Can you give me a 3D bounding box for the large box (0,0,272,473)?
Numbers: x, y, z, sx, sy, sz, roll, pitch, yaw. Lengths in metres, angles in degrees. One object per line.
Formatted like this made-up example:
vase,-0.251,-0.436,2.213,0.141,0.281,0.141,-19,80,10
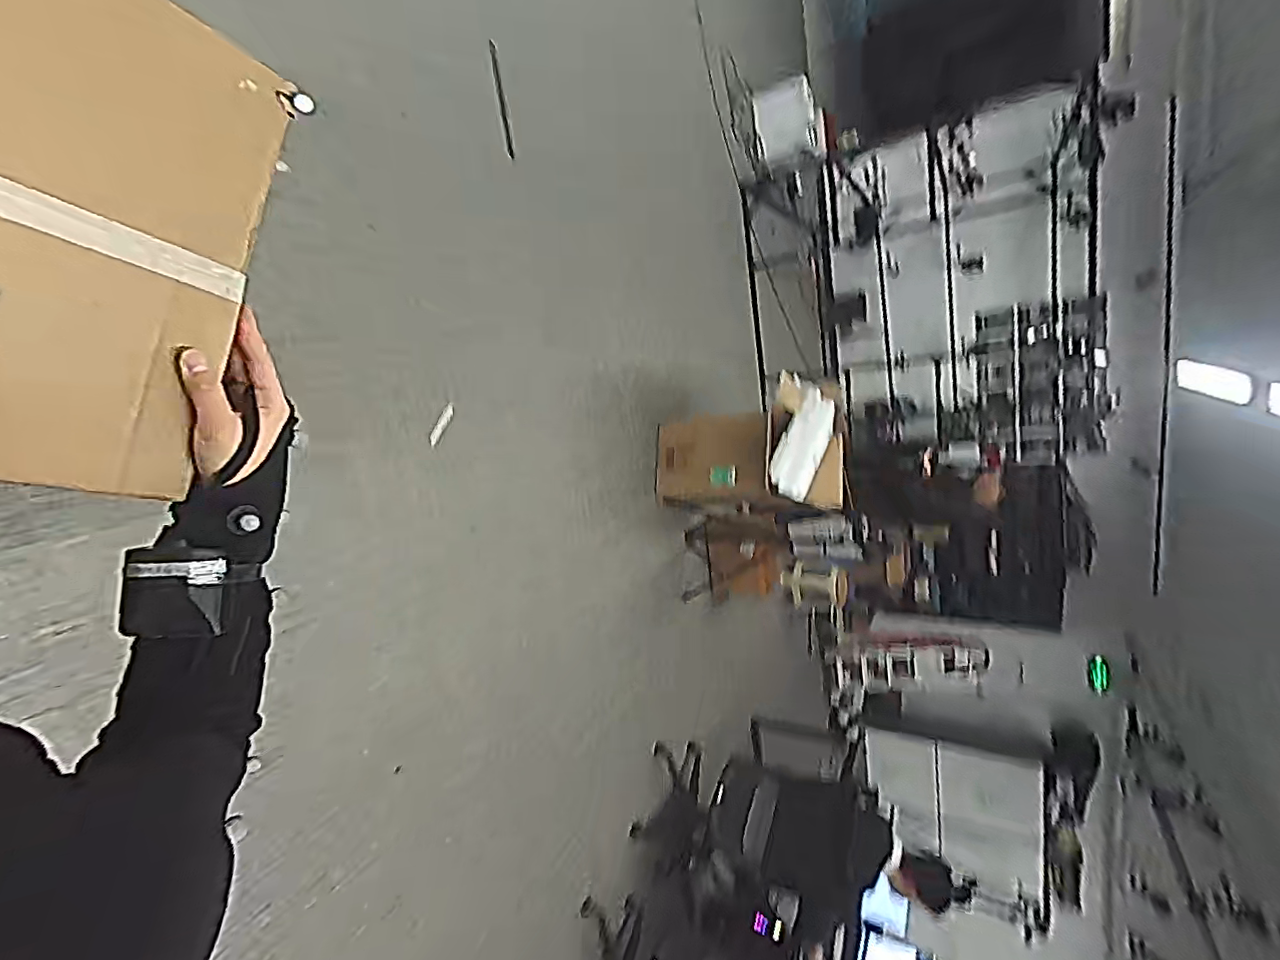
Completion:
large box,-0.530,-0.201,0.321,0.408,0.320,0.320,15,87,-52
